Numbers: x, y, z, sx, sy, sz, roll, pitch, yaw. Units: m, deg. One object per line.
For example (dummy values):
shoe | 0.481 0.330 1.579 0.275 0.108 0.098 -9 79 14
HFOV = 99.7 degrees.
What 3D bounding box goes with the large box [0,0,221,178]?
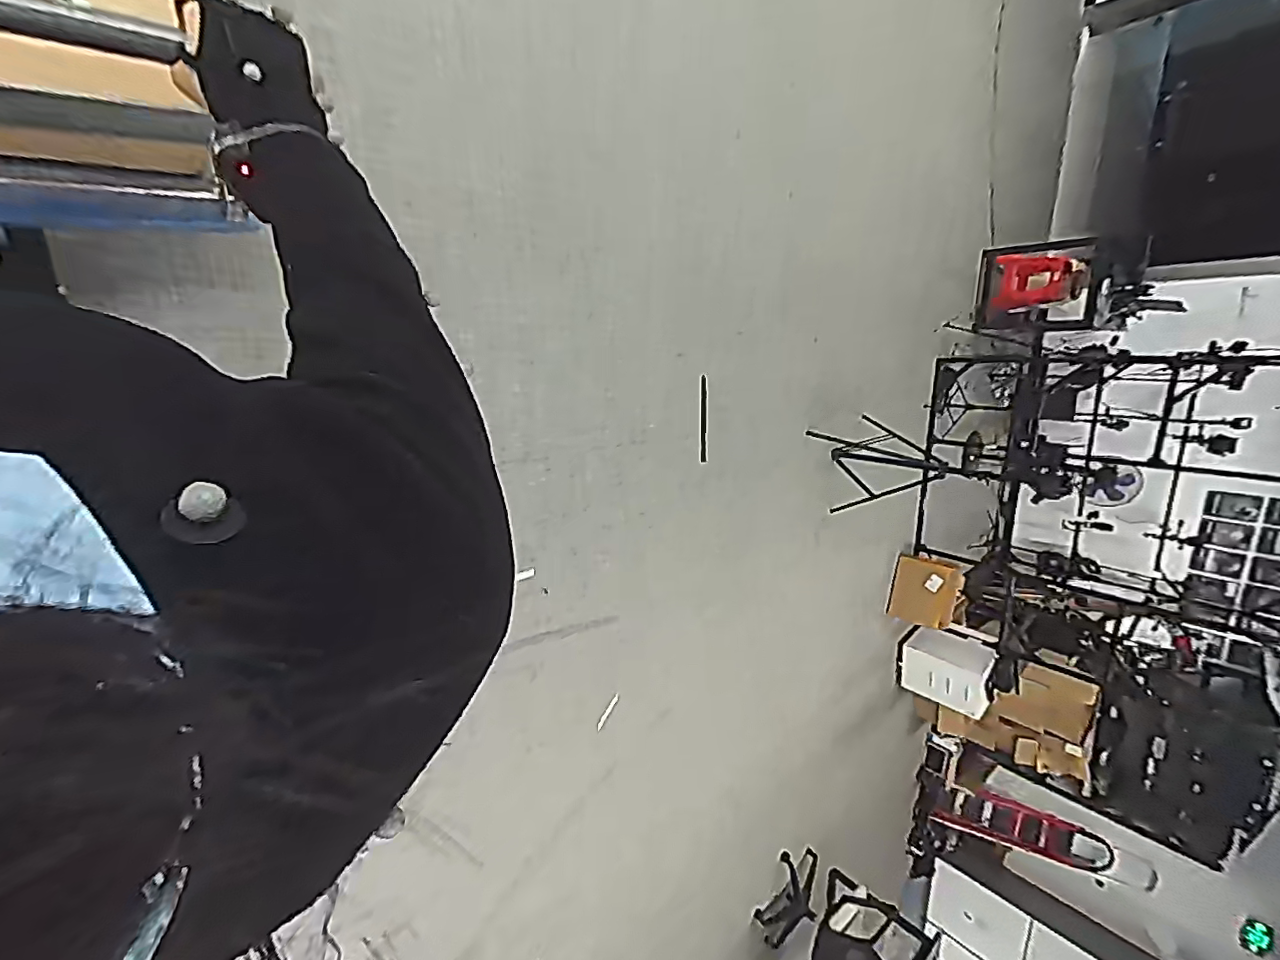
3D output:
large box | -0.840 -0.609 0.688 0.408 0.320 0.320 -18 112 -41
